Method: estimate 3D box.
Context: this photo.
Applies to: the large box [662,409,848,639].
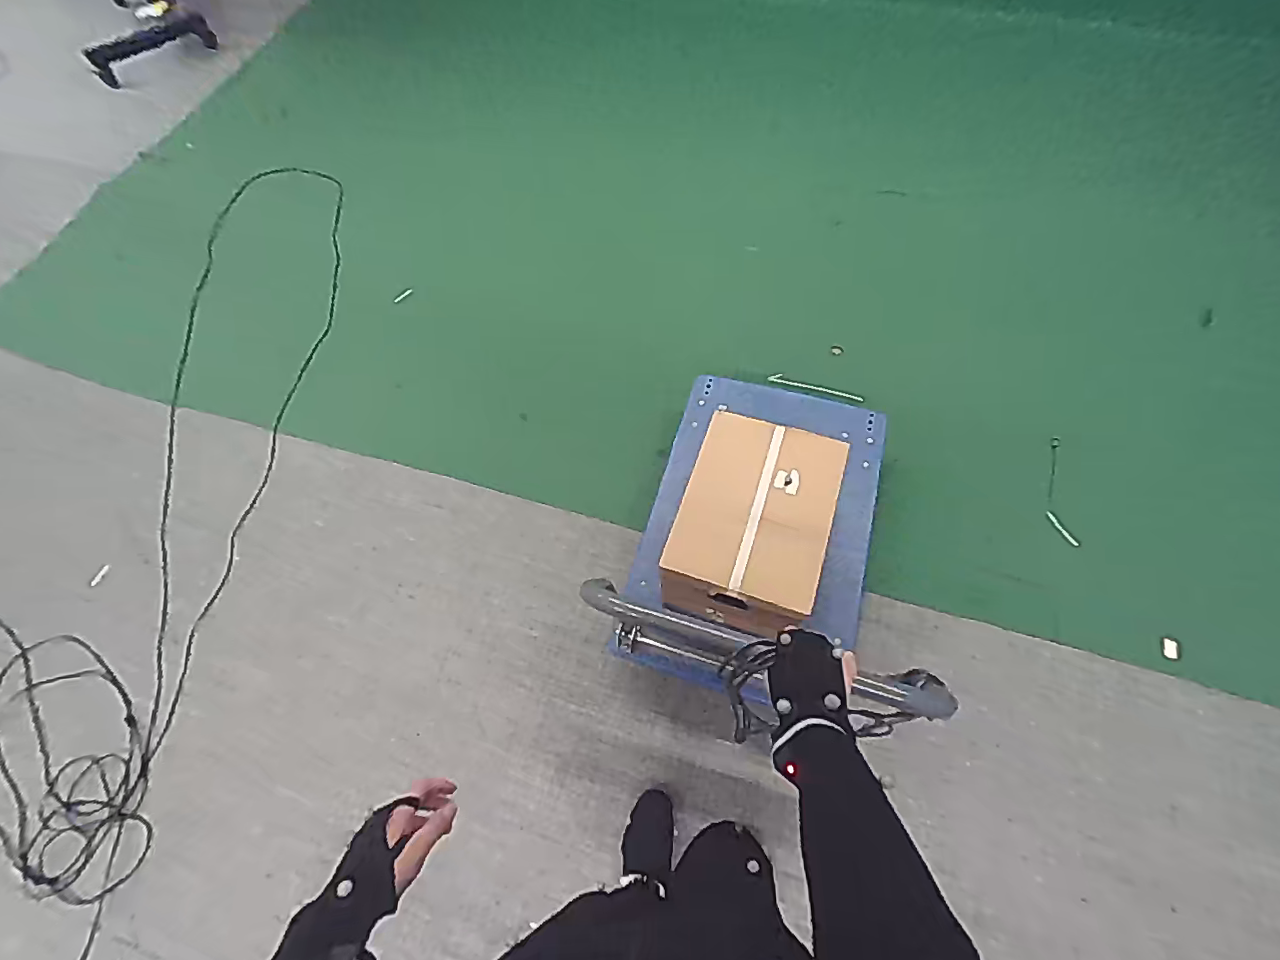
[{"bbox_3d":[0.261,0.111,1.273,0.320,0.320,0.408,17,66,12],"label":"large box"}]
